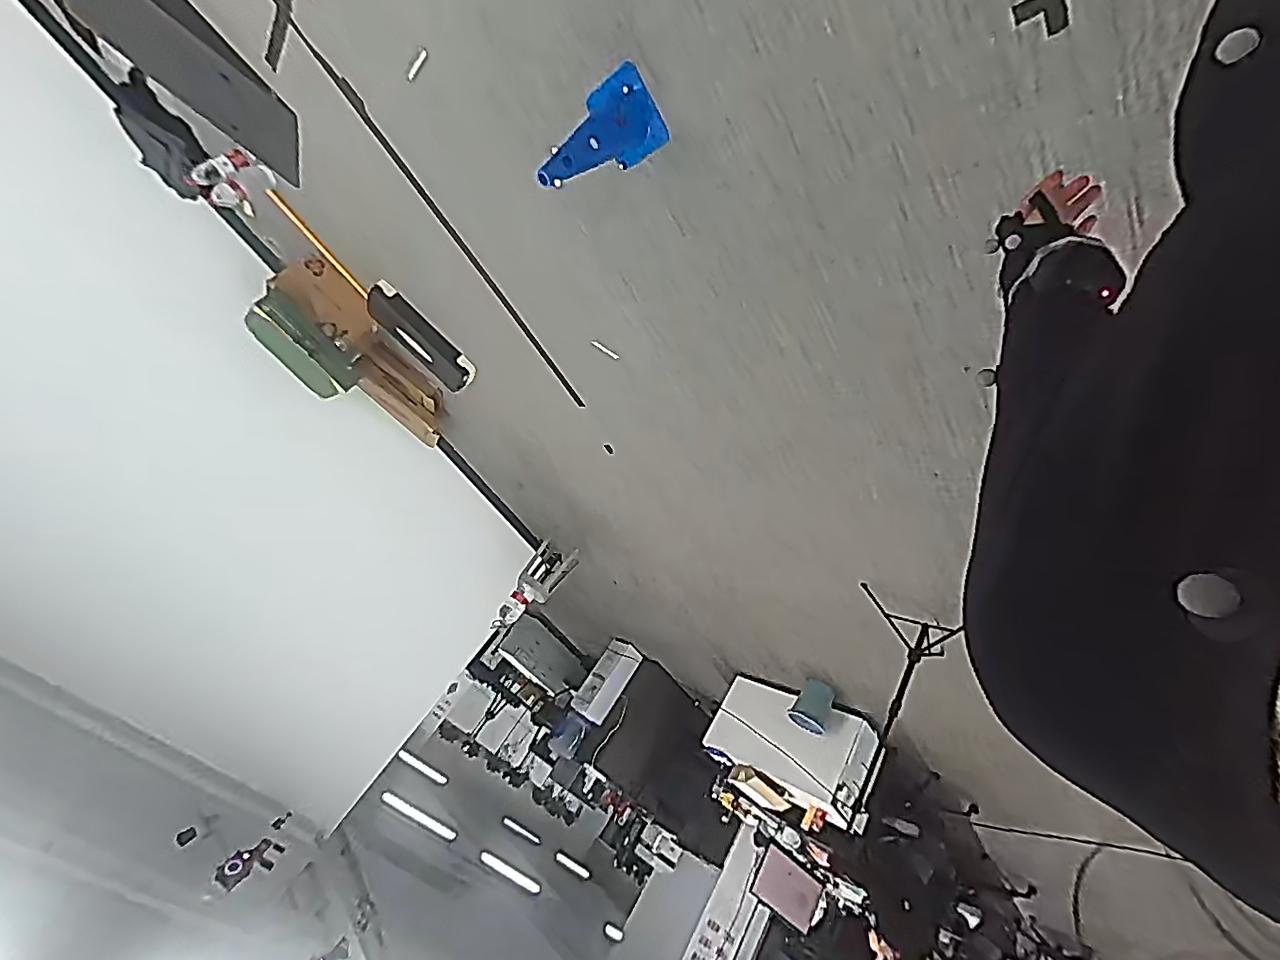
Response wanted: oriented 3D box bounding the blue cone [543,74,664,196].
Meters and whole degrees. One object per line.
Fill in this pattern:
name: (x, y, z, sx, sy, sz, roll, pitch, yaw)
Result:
blue cone: (-0.124, -0.832, 1.363, 0.193, 0.380, 0.192, 2, 137, 49)
